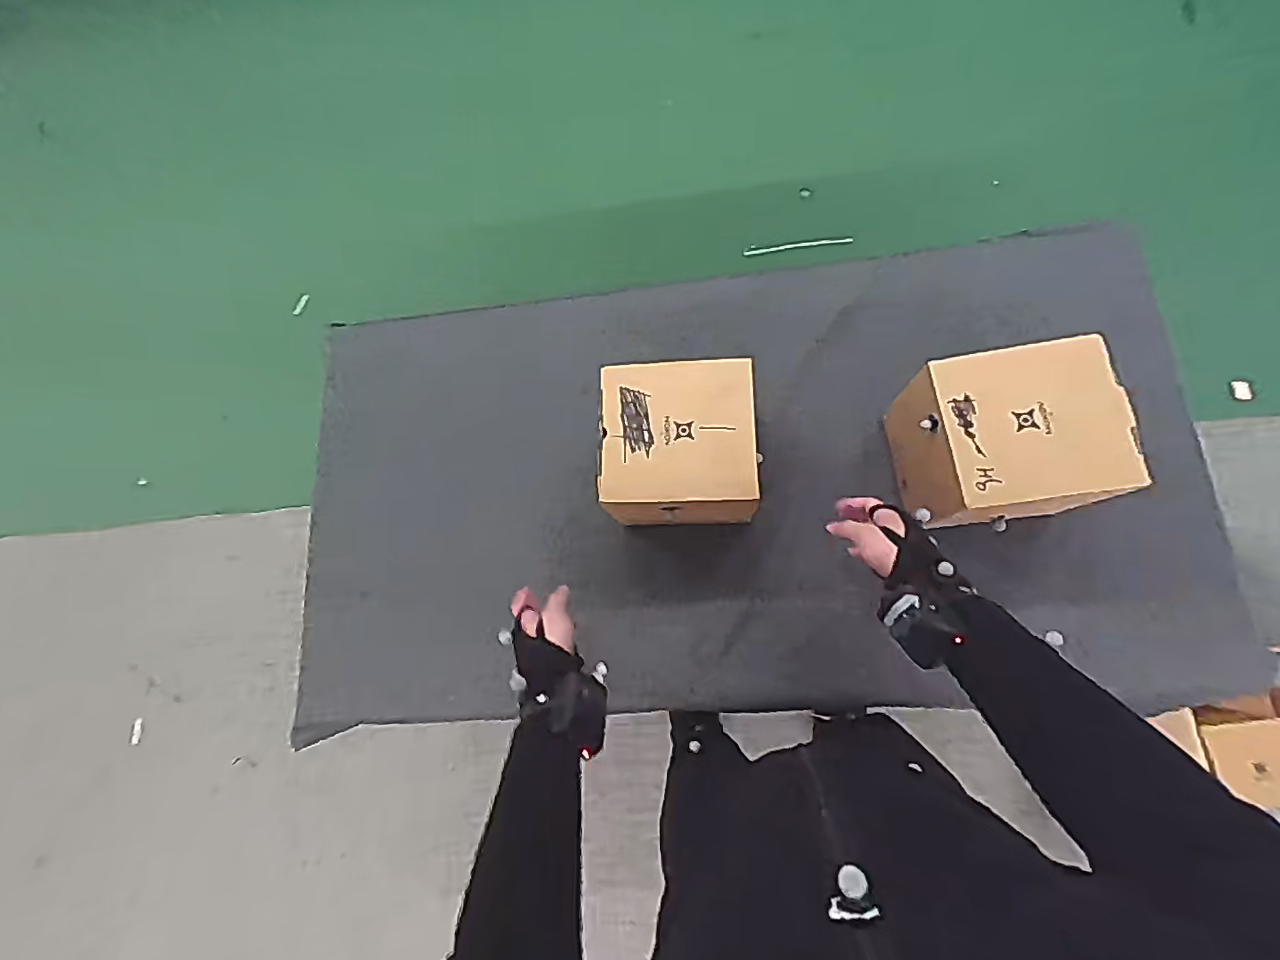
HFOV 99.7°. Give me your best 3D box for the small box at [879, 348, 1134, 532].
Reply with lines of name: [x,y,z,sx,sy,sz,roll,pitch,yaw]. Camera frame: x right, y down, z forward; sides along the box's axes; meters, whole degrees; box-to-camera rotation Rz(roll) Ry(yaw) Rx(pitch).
small box: [0.416,-0.036,0.649,0.179,0.176,0.168,-10,78,6]

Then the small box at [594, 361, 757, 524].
small box: [0.051,-0.038,0.678,0.179,0.176,0.168,2,79,8]
